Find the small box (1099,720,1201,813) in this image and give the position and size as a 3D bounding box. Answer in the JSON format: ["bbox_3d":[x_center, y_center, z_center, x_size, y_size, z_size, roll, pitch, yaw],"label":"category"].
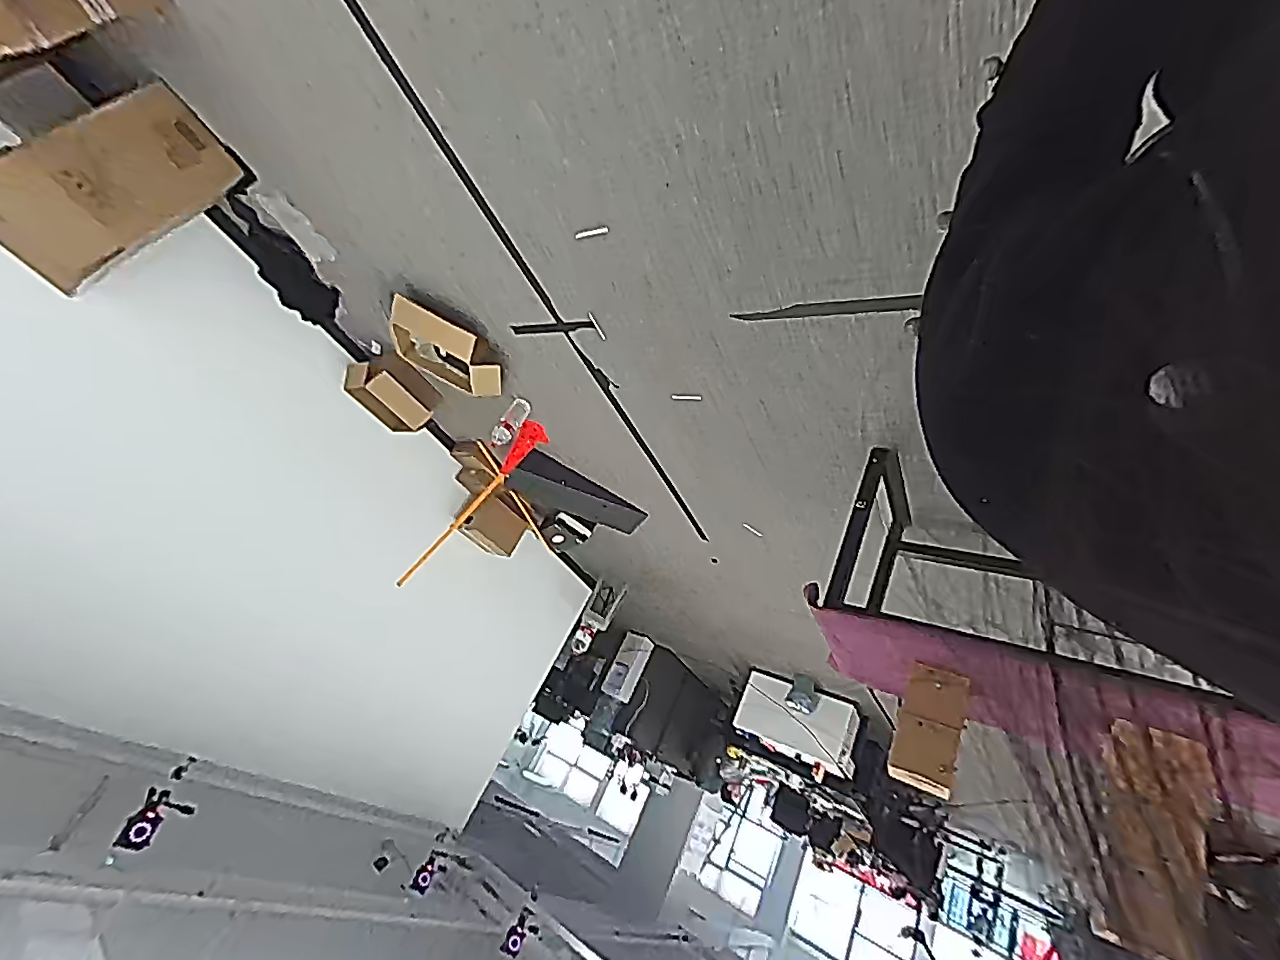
[{"bbox_3d":[1.324,0.752,1.413,0.168,0.176,0.179,9,148,36],"label":"small box"}]

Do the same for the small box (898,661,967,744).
[{"bbox_3d":[0.929,0.705,1.722,0.168,0.176,0.179,11,149,31],"label":"small box"}]

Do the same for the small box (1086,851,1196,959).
[{"bbox_3d":[1.179,1.014,1.276,0.168,0.176,0.179,9,147,36],"label":"small box"}]

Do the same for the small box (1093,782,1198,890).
[{"bbox_3d":[1.256,0.886,1.346,0.168,0.176,0.179,8,148,36],"label":"small box"}]
